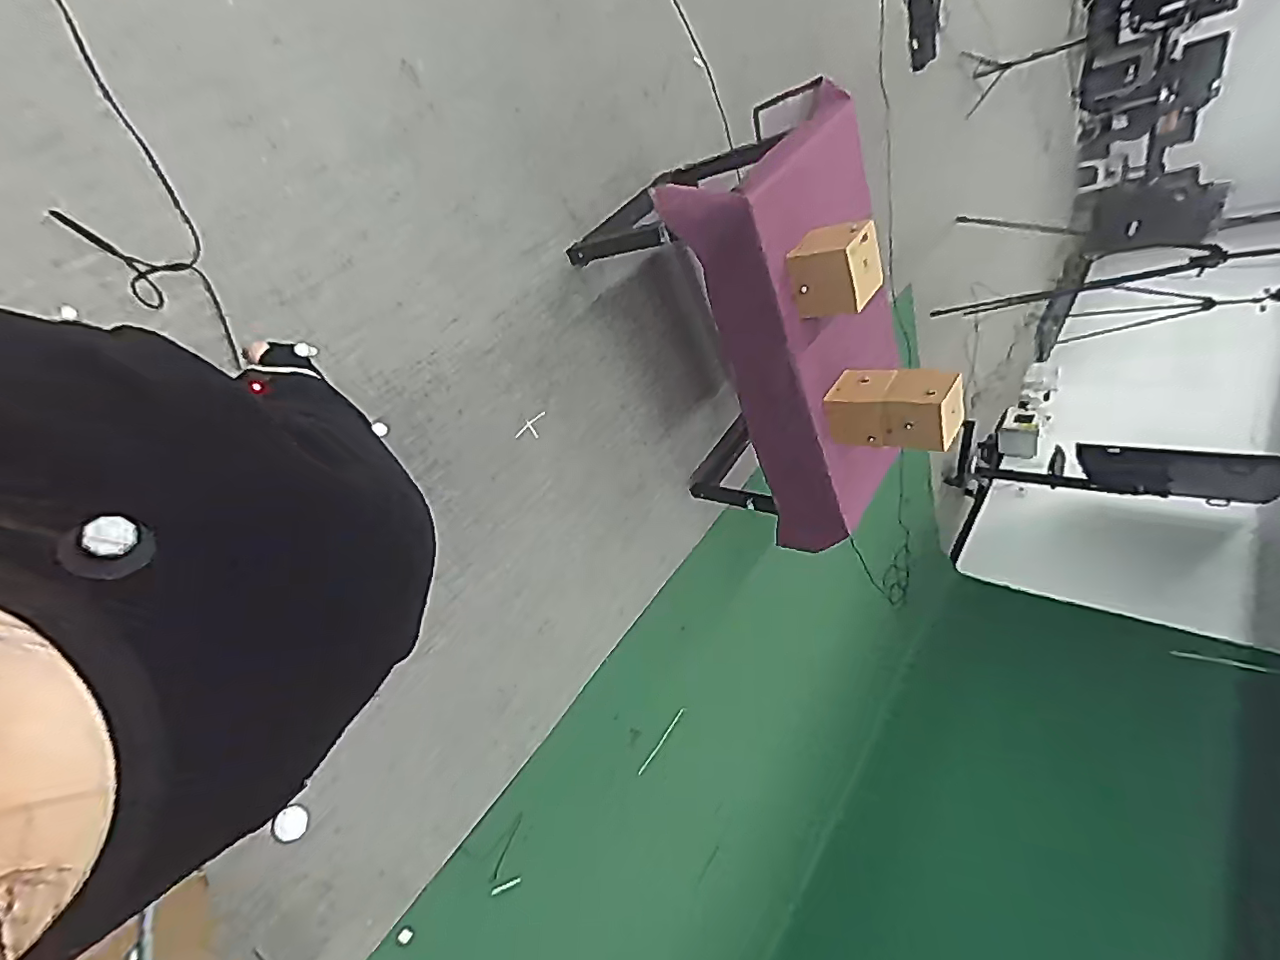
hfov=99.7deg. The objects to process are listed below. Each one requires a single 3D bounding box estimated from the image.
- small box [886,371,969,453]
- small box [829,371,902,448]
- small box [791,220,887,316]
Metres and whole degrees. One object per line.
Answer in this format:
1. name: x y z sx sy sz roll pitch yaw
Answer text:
1. small box: 0.818 -0.197 1.548 0.179 0.176 0.168 -45 128 -29
2. small box: 0.700 -0.219 1.661 0.168 0.176 0.179 -47 128 -28
3. small box: 0.517 -0.545 1.406 0.168 0.176 0.179 -48 129 -27
